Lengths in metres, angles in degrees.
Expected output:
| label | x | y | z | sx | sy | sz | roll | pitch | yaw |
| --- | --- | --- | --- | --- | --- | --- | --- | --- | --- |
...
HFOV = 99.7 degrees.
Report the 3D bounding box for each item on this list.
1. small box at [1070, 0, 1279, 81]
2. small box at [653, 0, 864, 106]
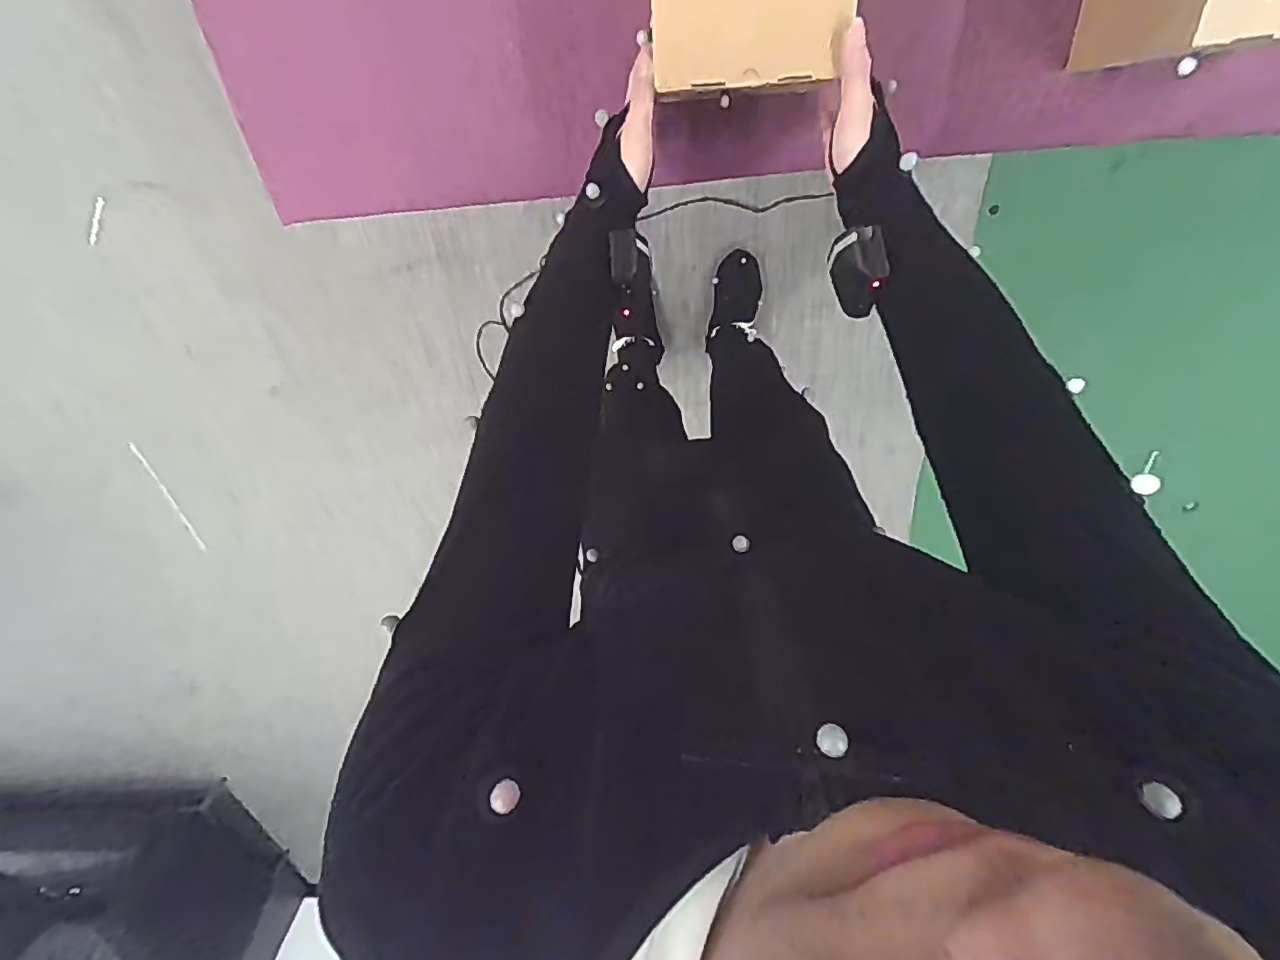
| label | x | y | z | sx | sy | sz | roll | pitch | yaw |
| --- | --- | --- | --- | --- | --- | --- | --- | --- | --- |
| small box | 0.513 | -0.456 | 0.452 | 0.168 | 0.176 | 0.179 | -3 | 123 | 6 |
| small box | 0.095 | -0.443 | 0.481 | 0.168 | 0.176 | 0.179 | -2 | 126 | 3 |
